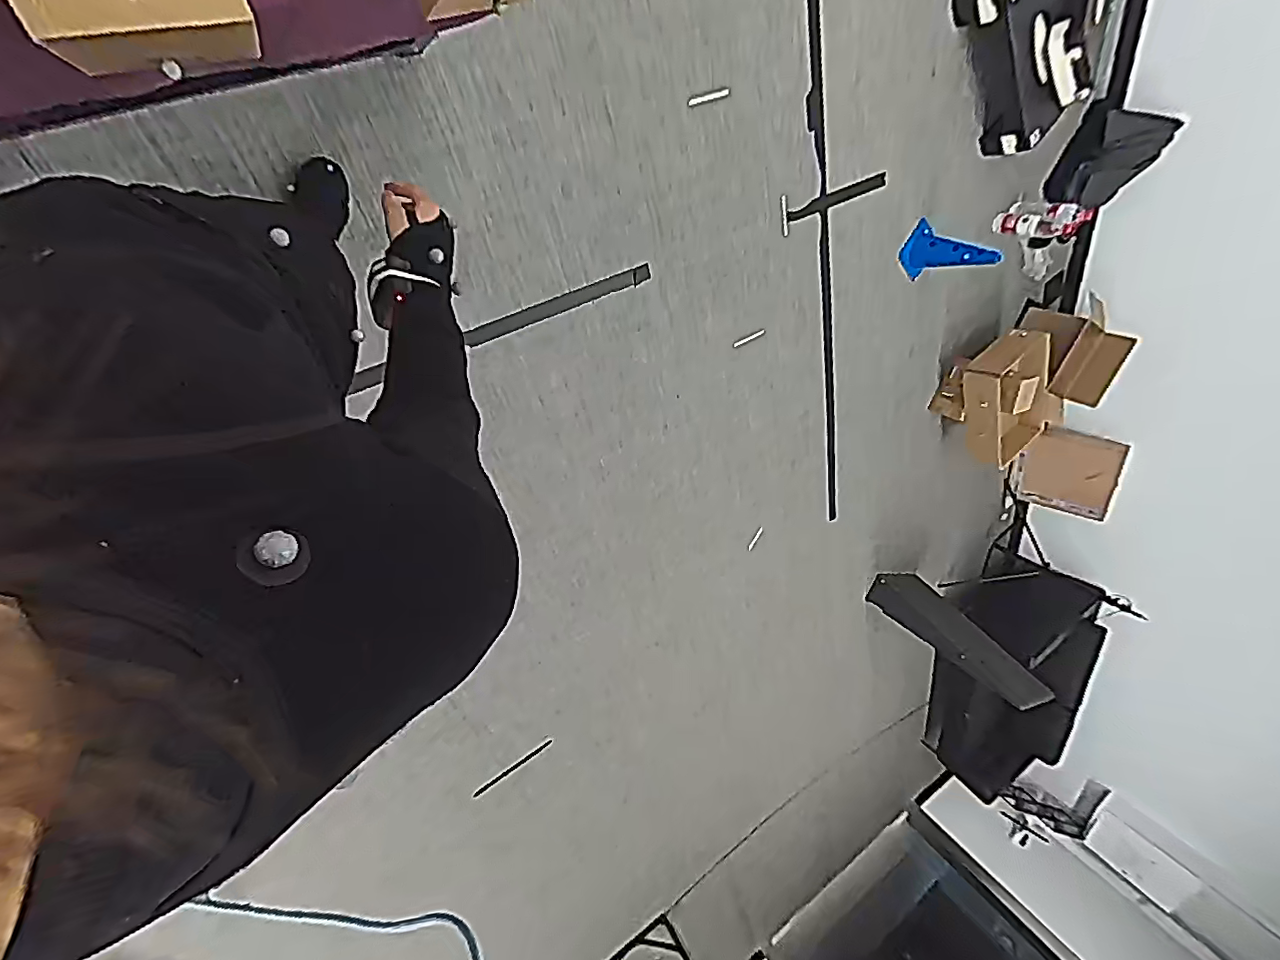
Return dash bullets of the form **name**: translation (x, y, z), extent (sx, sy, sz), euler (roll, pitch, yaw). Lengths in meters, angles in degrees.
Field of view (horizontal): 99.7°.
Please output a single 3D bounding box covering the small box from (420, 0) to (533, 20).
- **small box**: translation (-0.180, -0.645, 0.589), extent (0.168, 0.176, 0.179), euler (-28, 126, -17)
